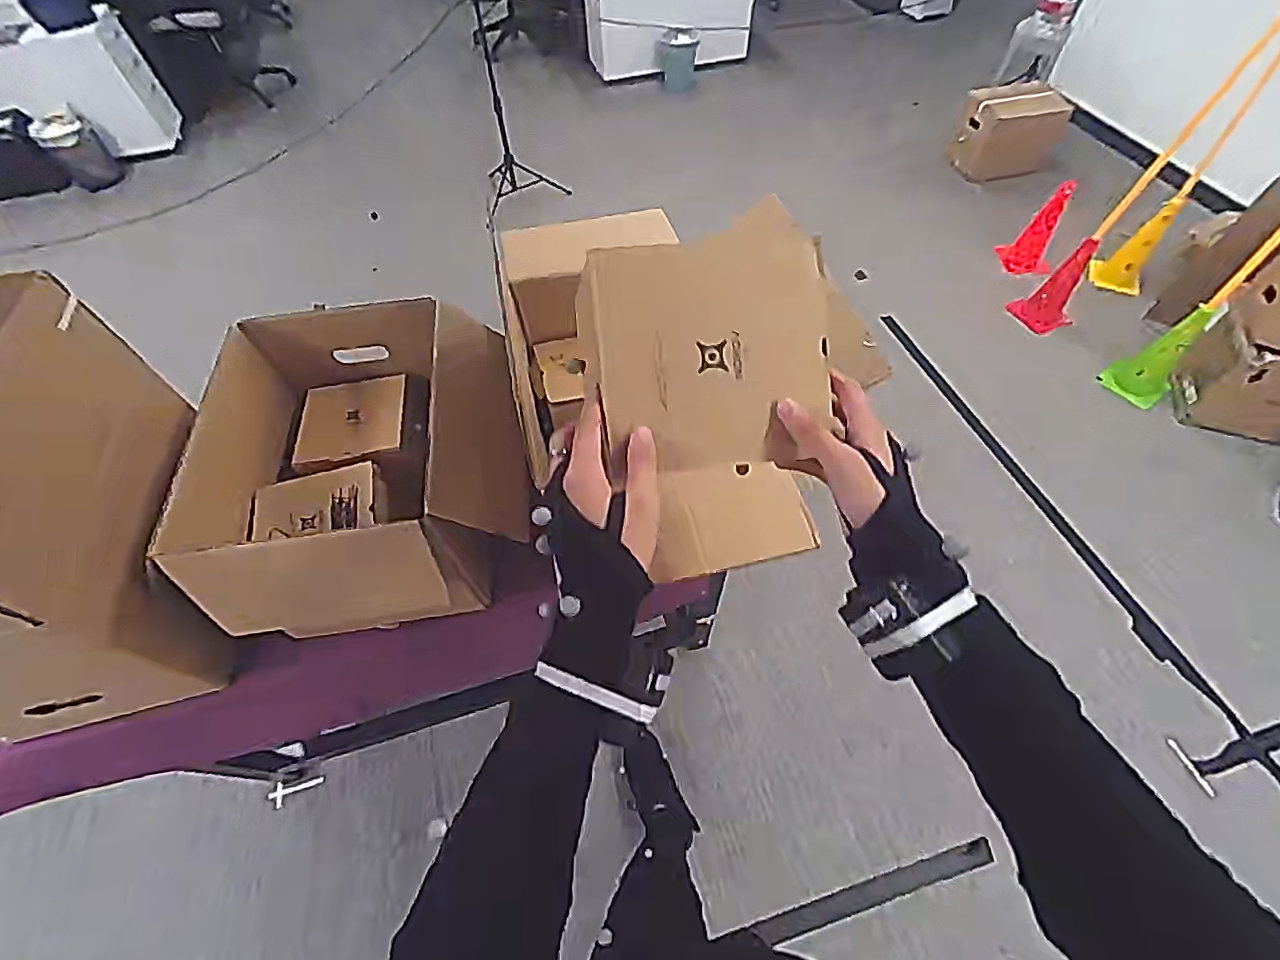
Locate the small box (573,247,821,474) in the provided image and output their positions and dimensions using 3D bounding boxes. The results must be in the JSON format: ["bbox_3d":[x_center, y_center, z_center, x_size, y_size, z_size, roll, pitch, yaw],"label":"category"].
[{"bbox_3d":[0.039,-0.097,0.490,0.179,0.176,0.168,-6,93,-10],"label":"small box"}]
